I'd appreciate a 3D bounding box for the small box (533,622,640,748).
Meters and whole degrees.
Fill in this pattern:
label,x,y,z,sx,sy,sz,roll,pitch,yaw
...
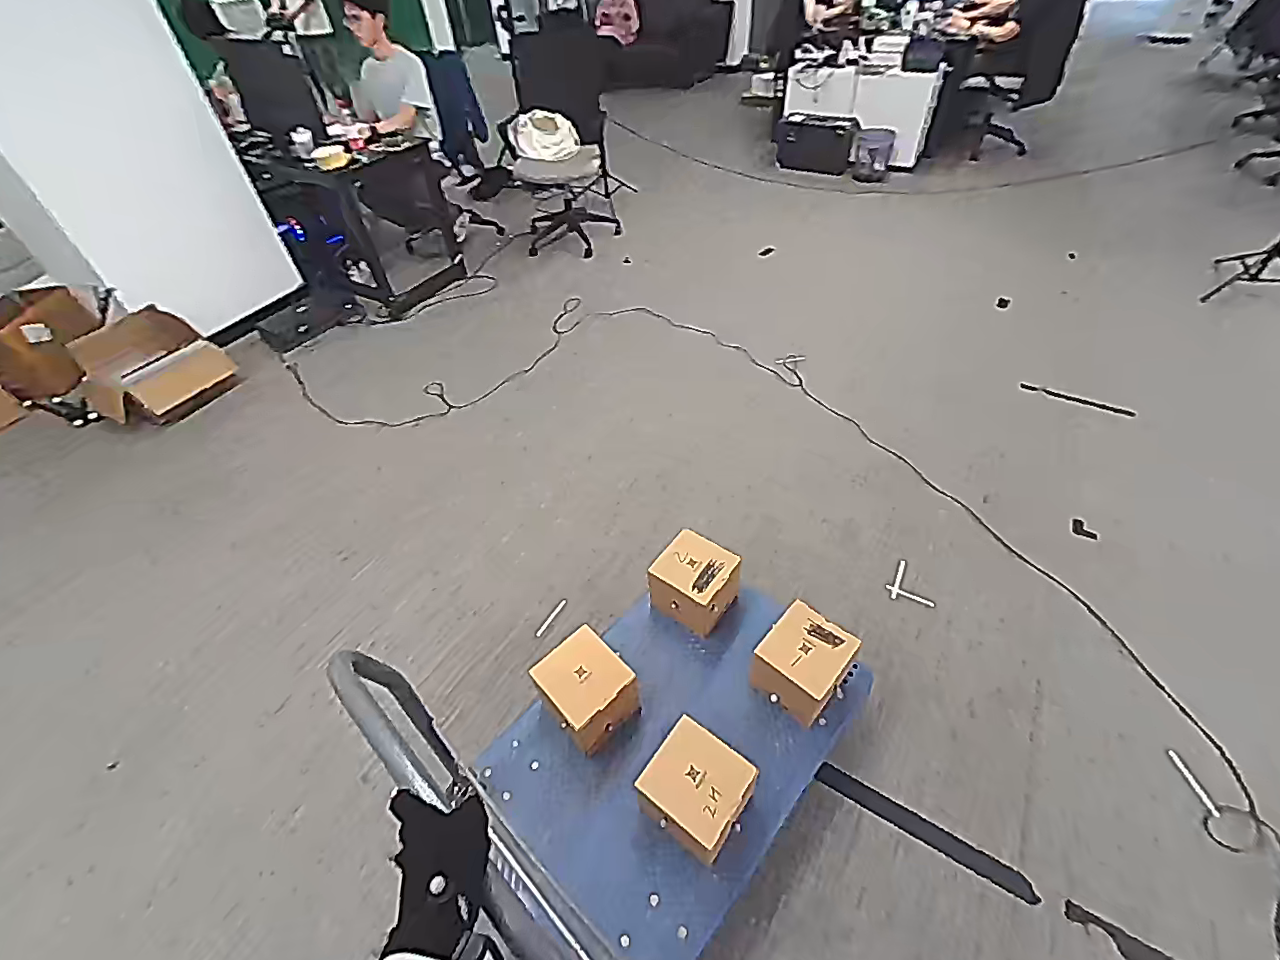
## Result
label,x,y,z,sx,sy,sz,roll,pitch,yaw
small box,-0.116,0.466,1.224,0.168,0.176,0.179,-35,55,-27

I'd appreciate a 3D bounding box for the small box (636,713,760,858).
label,x,y,z,sx,sy,sz,roll,pitch,yaw
small box,0.113,0.608,1.071,0.179,0.176,0.168,29,55,28

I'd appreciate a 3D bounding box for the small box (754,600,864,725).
label,x,y,z,sx,sy,sz,roll,pitch,yaw
small box,0.375,0.416,1.230,0.168,0.176,0.179,34,59,31
